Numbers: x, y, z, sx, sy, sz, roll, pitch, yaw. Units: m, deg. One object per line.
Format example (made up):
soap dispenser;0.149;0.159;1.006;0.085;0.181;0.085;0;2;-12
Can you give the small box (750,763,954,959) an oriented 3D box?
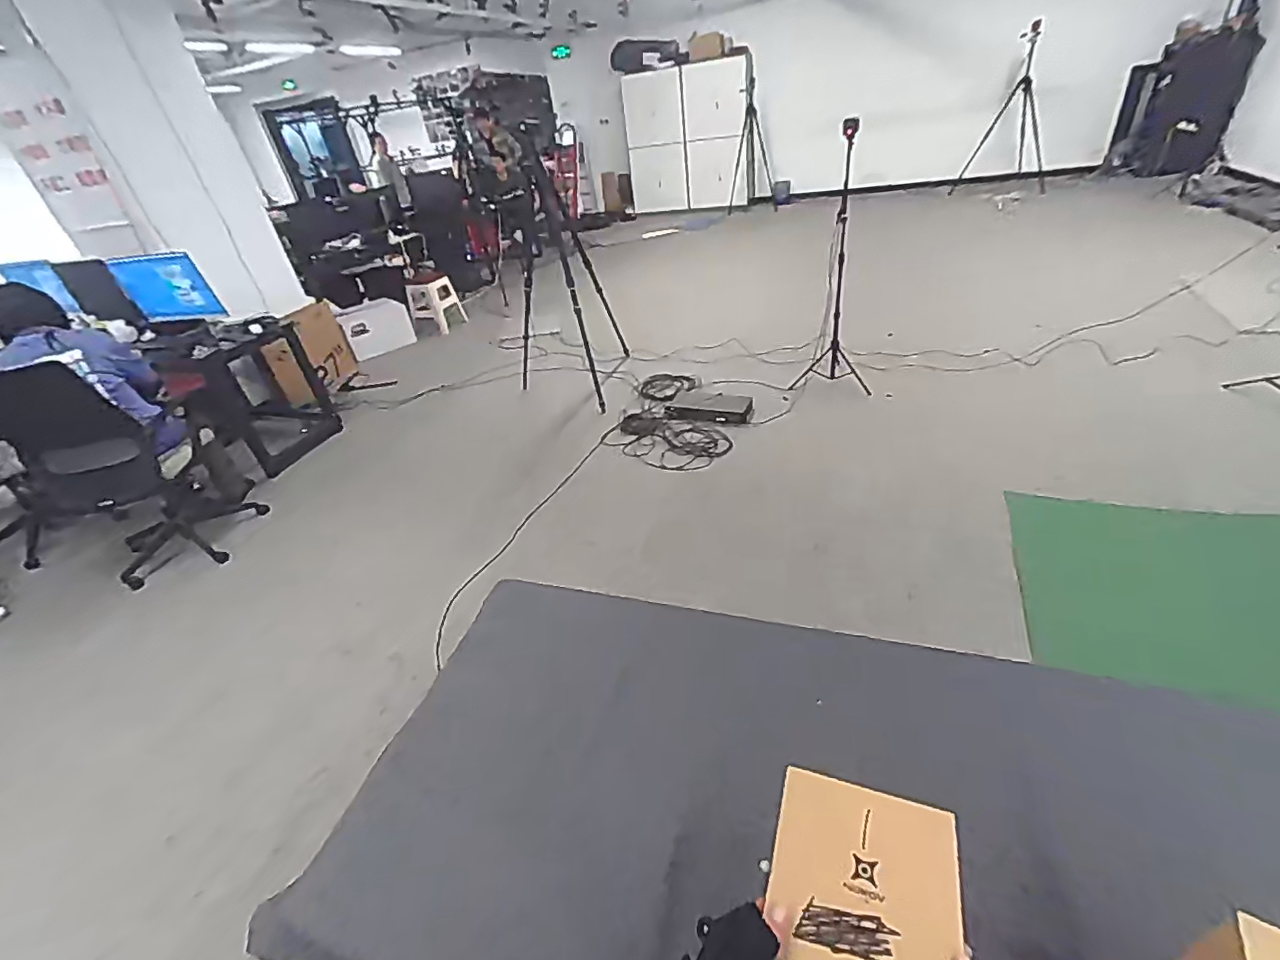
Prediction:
small box;0.214;0.438;0.556;0.168;0.176;0.179;7;37;21
